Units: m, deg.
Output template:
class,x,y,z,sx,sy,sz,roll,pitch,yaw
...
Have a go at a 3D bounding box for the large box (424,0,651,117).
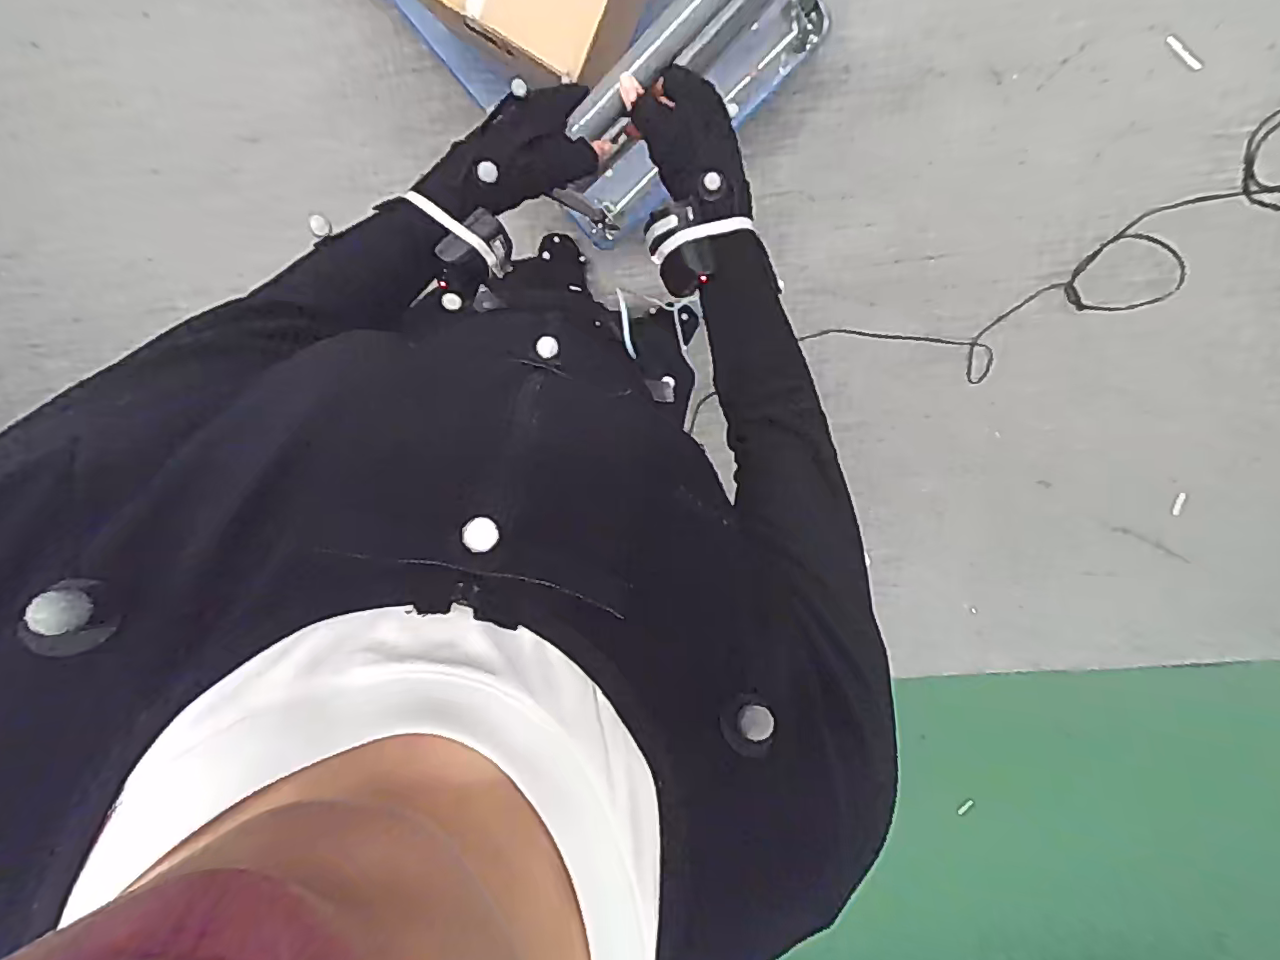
class,x,y,z,sx,sy,sz,roll,pitch,yaw
large box,-0.117,-0.849,0.801,0.320,0.320,0.408,27,114,-10
